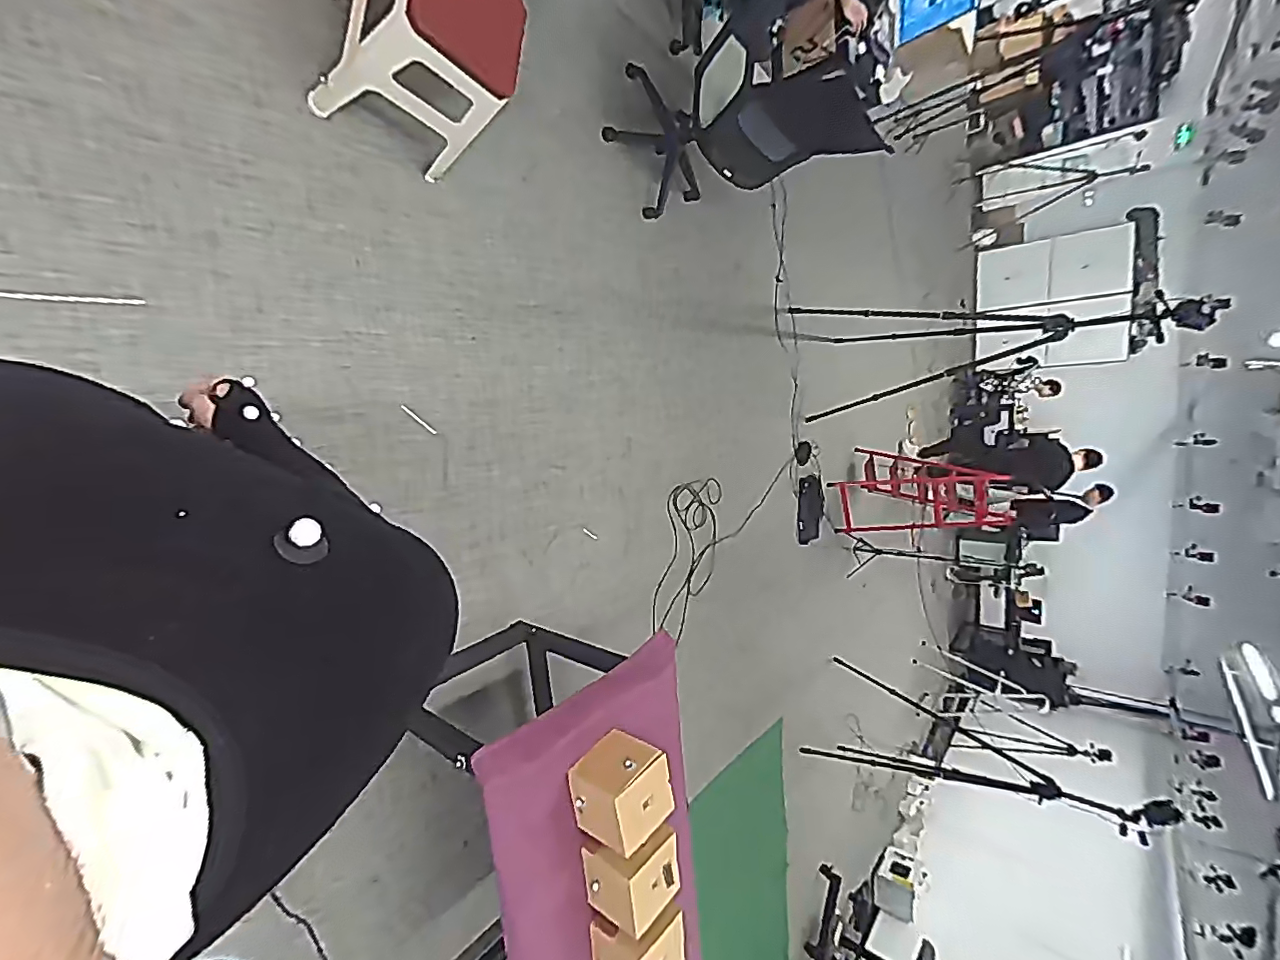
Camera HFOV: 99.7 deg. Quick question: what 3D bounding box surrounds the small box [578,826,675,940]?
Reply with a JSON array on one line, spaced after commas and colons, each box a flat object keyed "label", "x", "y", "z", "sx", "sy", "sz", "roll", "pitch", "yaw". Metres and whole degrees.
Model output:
[{"label": "small box", "x": -0.034, "y": 0.973, "z": 1.358, "sx": 0.179, "sy": 0.176, "sz": 0.168, "roll": -15, "pitch": 104, "yaw": -46}]

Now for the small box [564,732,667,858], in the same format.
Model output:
[{"label": "small box", "x": -0.059, "y": 0.751, "z": 1.315, "sx": 0.179, "sy": 0.176, "sz": 0.168, "roll": -22, "pitch": 108, "yaw": -45}]
